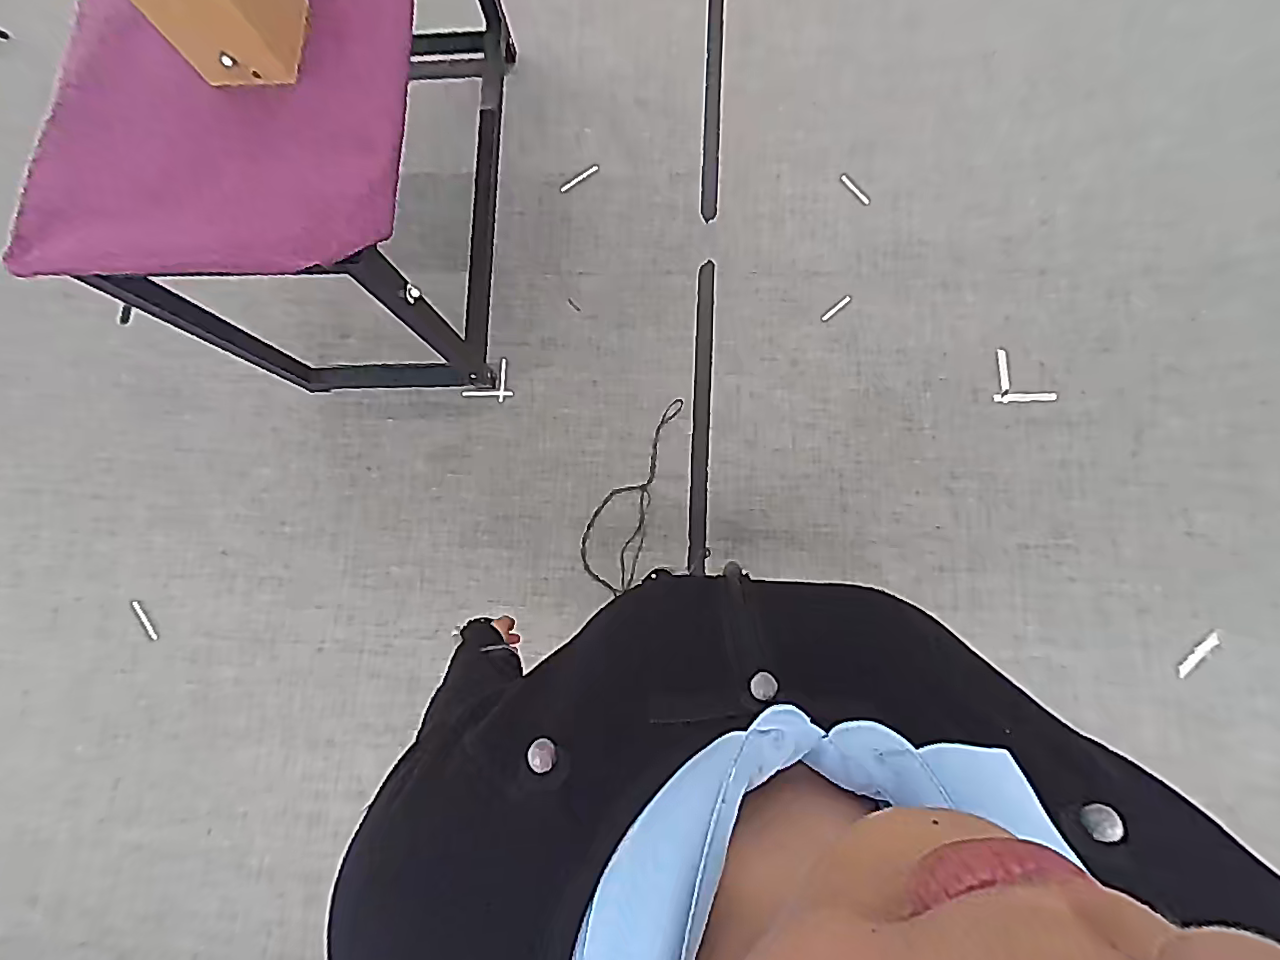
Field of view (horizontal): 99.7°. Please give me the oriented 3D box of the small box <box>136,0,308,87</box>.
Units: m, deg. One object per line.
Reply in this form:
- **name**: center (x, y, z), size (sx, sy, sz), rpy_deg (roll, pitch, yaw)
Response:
- **small box**: center (-0.695, -0.807, 0.907), size (0.168, 0.176, 0.179), rpy_deg (2, 81, 5)
